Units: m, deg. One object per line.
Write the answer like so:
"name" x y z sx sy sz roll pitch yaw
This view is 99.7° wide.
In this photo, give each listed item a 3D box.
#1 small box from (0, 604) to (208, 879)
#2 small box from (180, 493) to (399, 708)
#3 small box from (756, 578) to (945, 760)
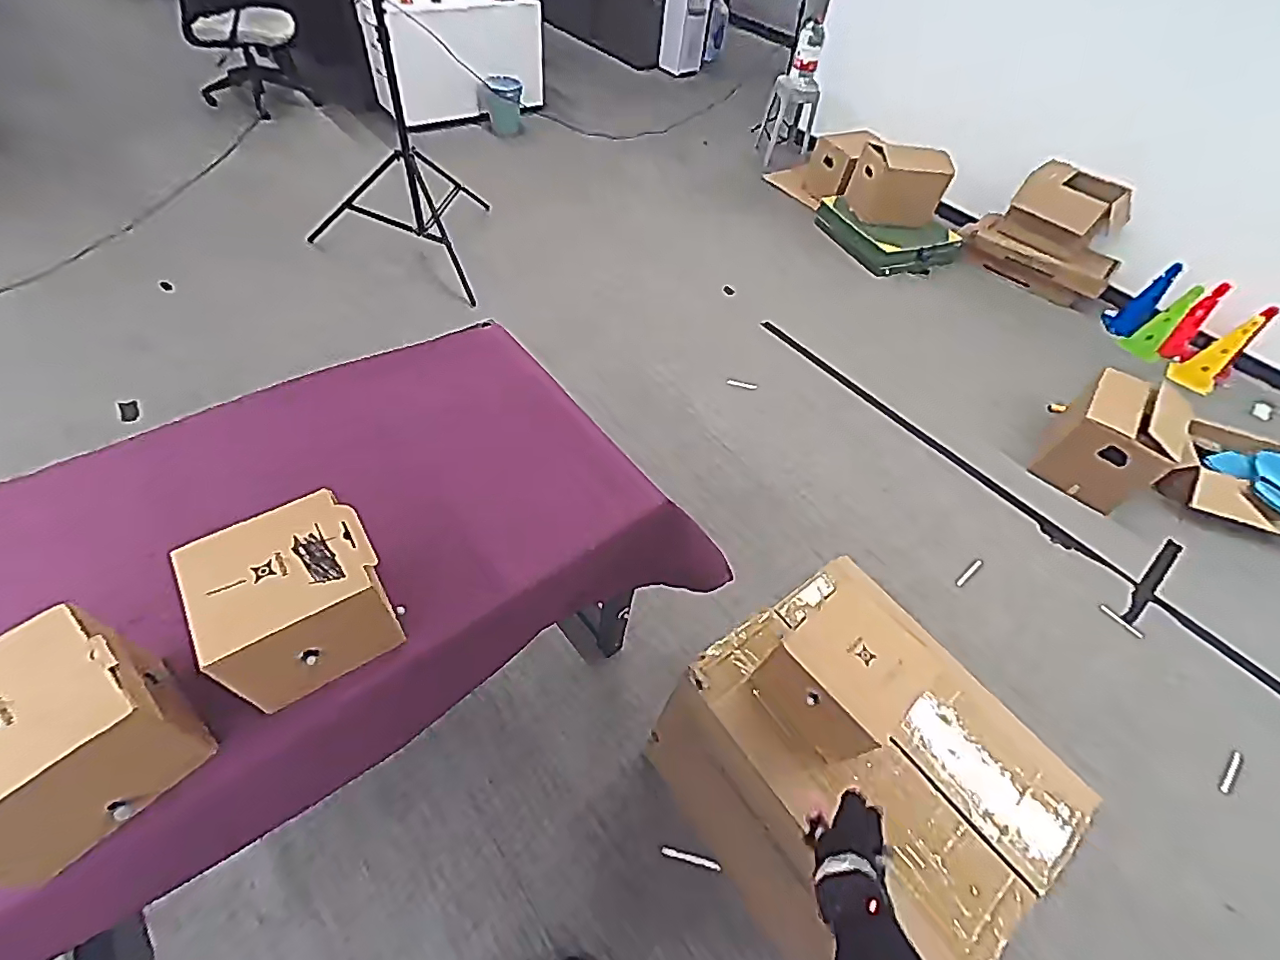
"small box" -0.603 0.272 0.566 0.168 0.176 0.179 36 54 20
"small box" -0.426 0.153 0.686 0.179 0.176 0.168 -26 59 -25
"small box" 0.303 0.289 0.816 0.168 0.176 0.179 -33 64 -26
